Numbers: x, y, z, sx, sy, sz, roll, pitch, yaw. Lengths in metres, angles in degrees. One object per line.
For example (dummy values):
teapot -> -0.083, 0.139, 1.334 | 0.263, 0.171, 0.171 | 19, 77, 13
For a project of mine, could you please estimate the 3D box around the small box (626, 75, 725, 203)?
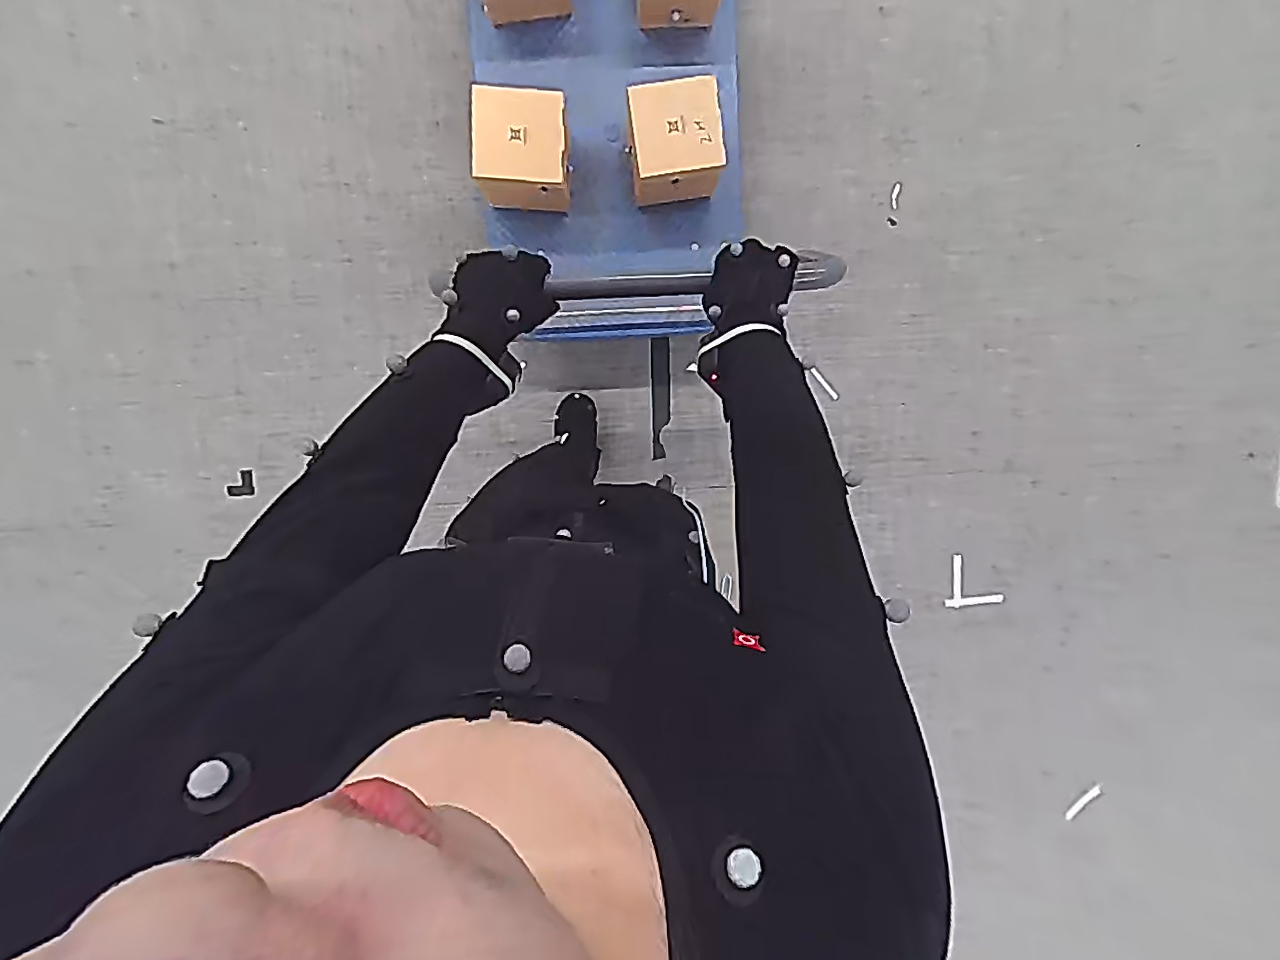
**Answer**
small box -> 0.068, -0.699, 1.128 | 0.179, 0.176, 0.168 | -9, 100, -1

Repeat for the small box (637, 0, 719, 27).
small box -> 0.077, -1.049, 1.070 | 0.168, 0.176, 0.179 | -3, 101, -2

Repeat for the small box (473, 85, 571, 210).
small box -> -0.238, -0.675, 1.117 | 0.179, 0.176, 0.168 | 1, 99, -5
